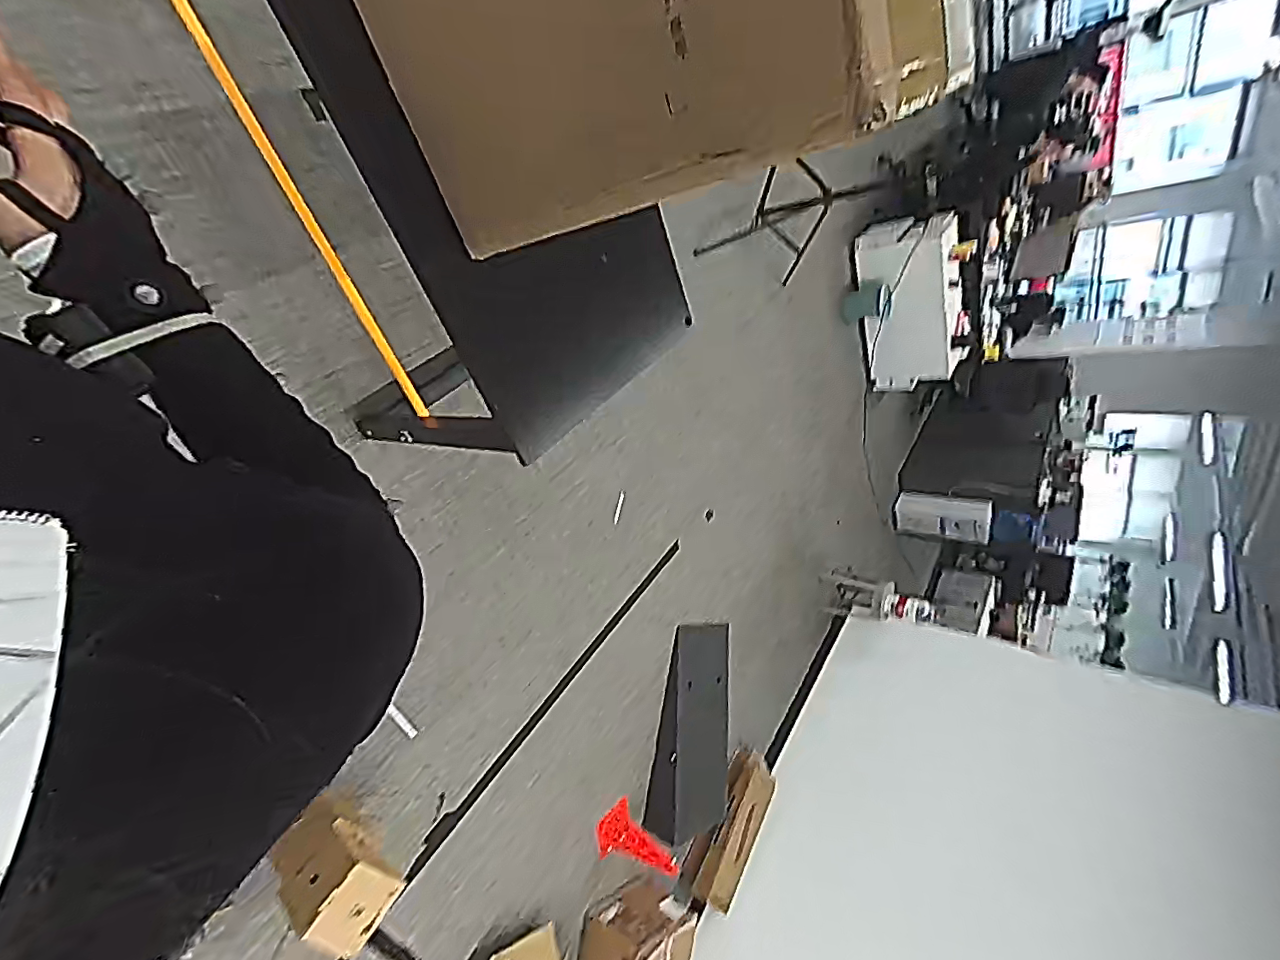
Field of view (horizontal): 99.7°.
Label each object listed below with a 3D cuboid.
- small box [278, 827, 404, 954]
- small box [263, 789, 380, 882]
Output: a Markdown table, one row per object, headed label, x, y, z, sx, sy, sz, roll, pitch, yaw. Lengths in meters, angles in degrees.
| label | x | y | z | sx | sy | sz | roll | pitch | yaw |
| --- | --- | --- | --- | --- | --- | --- | --- | --- | --- |
| small box | -0.718 | 0.973 | 1.296 | 0.168 | 0.176 | 0.179 | -52 | 131 | -31 |
| small box | -0.831 | 0.947 | 1.413 | 0.168 | 0.176 | 0.179 | -52 | 129 | -32 |
